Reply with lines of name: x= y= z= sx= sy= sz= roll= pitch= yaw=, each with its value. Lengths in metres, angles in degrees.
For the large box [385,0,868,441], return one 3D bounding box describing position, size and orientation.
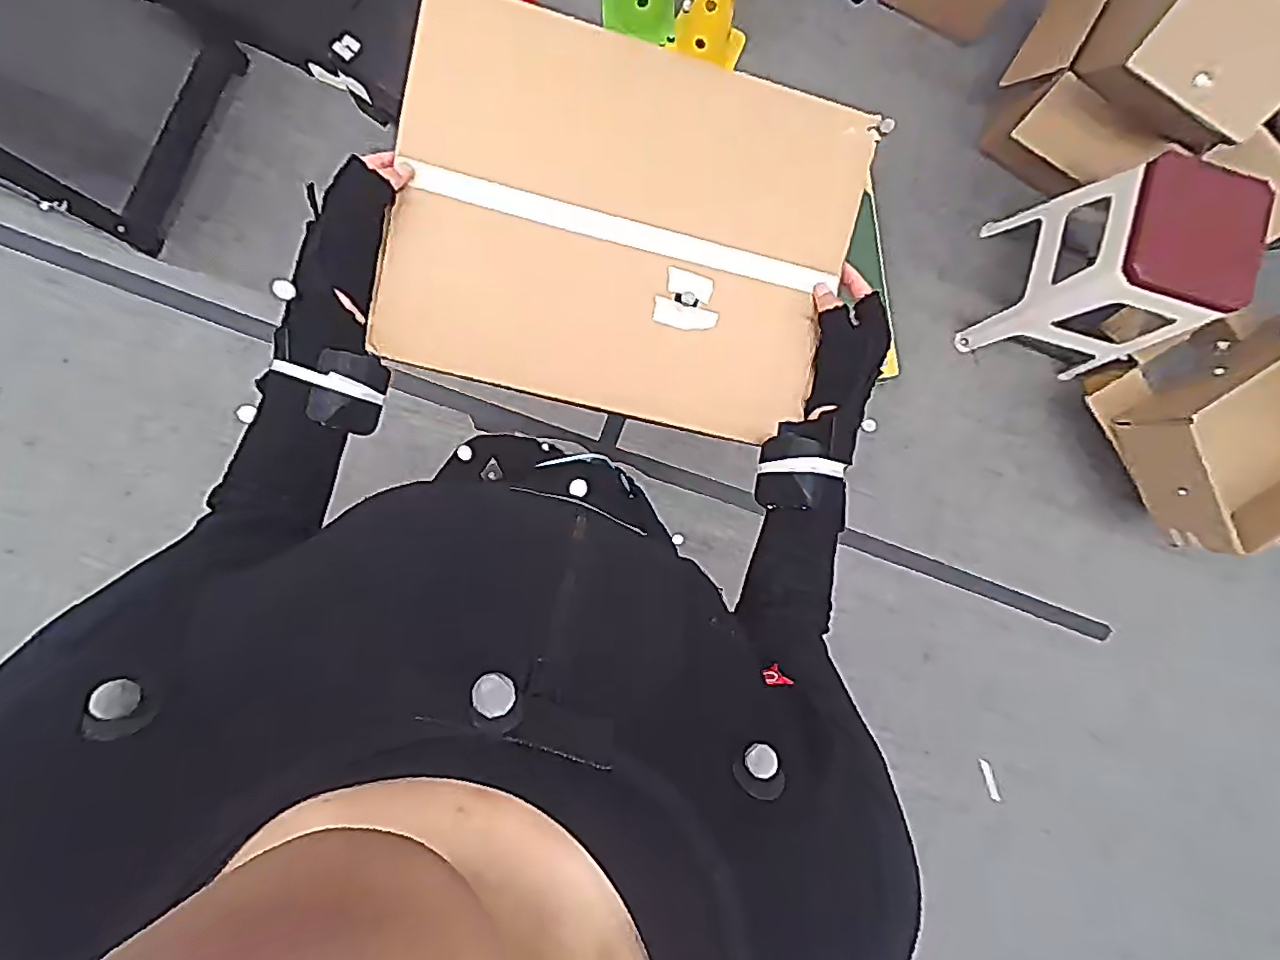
large box: x=-0.026 y=-0.243 z=0.643 sx=0.408 sy=0.320 sz=0.320 roll=12 pitch=97 yaw=-8
